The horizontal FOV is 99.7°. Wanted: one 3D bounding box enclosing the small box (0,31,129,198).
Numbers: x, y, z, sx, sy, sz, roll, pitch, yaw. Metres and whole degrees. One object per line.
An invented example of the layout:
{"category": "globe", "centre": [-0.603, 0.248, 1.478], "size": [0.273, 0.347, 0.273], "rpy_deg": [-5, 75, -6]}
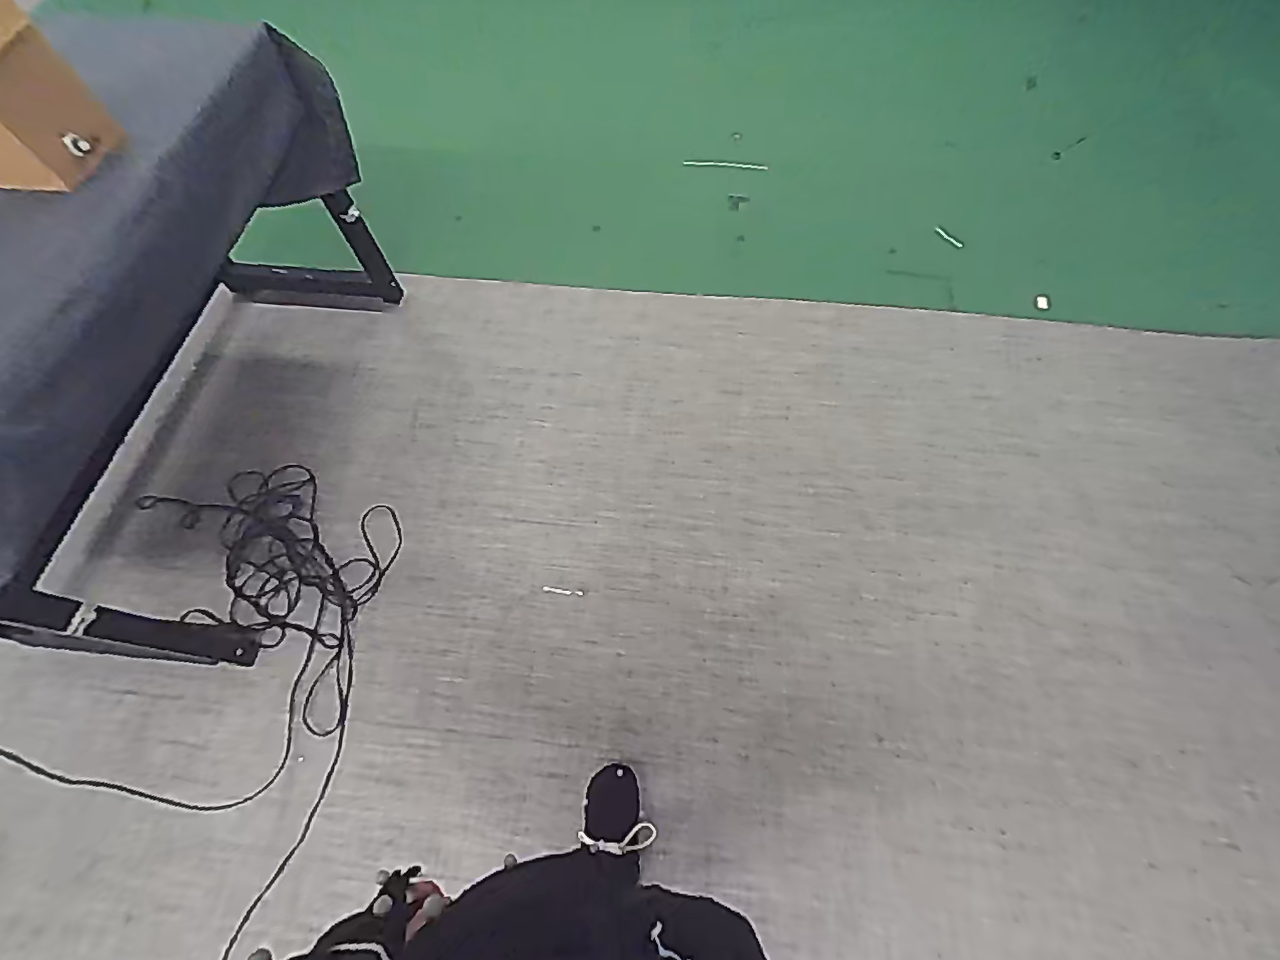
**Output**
{"category": "small box", "centre": [-0.997, -0.577, 0.858], "size": [0.179, 0.176, 0.168], "rpy_deg": [6, 65, 4]}
